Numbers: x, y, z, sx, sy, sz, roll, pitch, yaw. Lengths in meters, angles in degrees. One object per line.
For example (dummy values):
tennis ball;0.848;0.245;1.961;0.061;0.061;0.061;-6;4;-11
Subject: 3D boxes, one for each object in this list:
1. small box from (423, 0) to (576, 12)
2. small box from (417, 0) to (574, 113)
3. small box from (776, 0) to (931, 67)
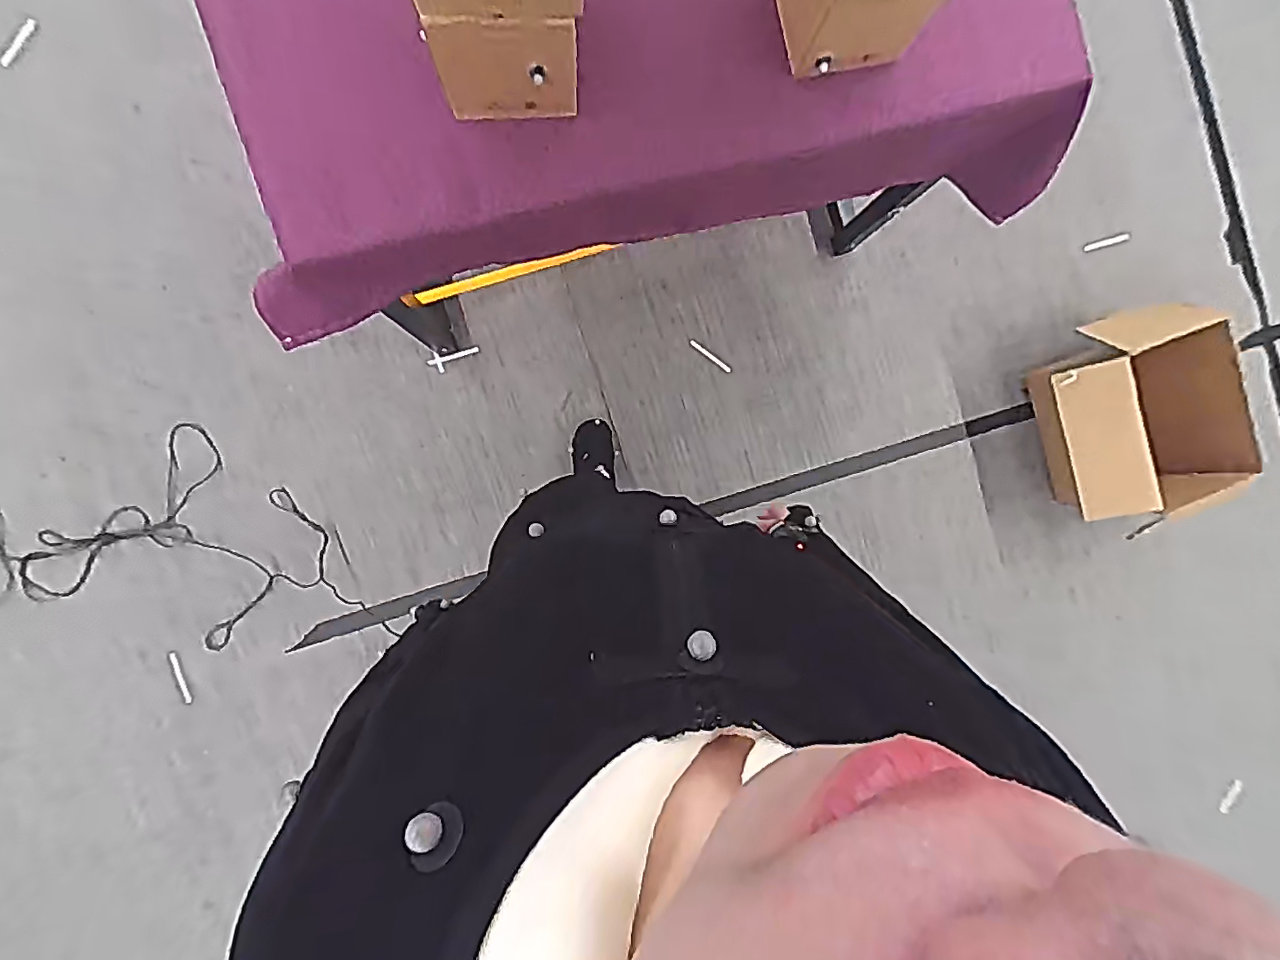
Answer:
small box;-0.145;-0.576;0.492;0.179;0.176;0.168;-5;93;-7
small box;-0.169;-0.578;0.654;0.168;0.176;0.179;-6;92;-7
small box;0.283;-0.677;0.698;0.168;0.176;0.179;-14;92;-6
